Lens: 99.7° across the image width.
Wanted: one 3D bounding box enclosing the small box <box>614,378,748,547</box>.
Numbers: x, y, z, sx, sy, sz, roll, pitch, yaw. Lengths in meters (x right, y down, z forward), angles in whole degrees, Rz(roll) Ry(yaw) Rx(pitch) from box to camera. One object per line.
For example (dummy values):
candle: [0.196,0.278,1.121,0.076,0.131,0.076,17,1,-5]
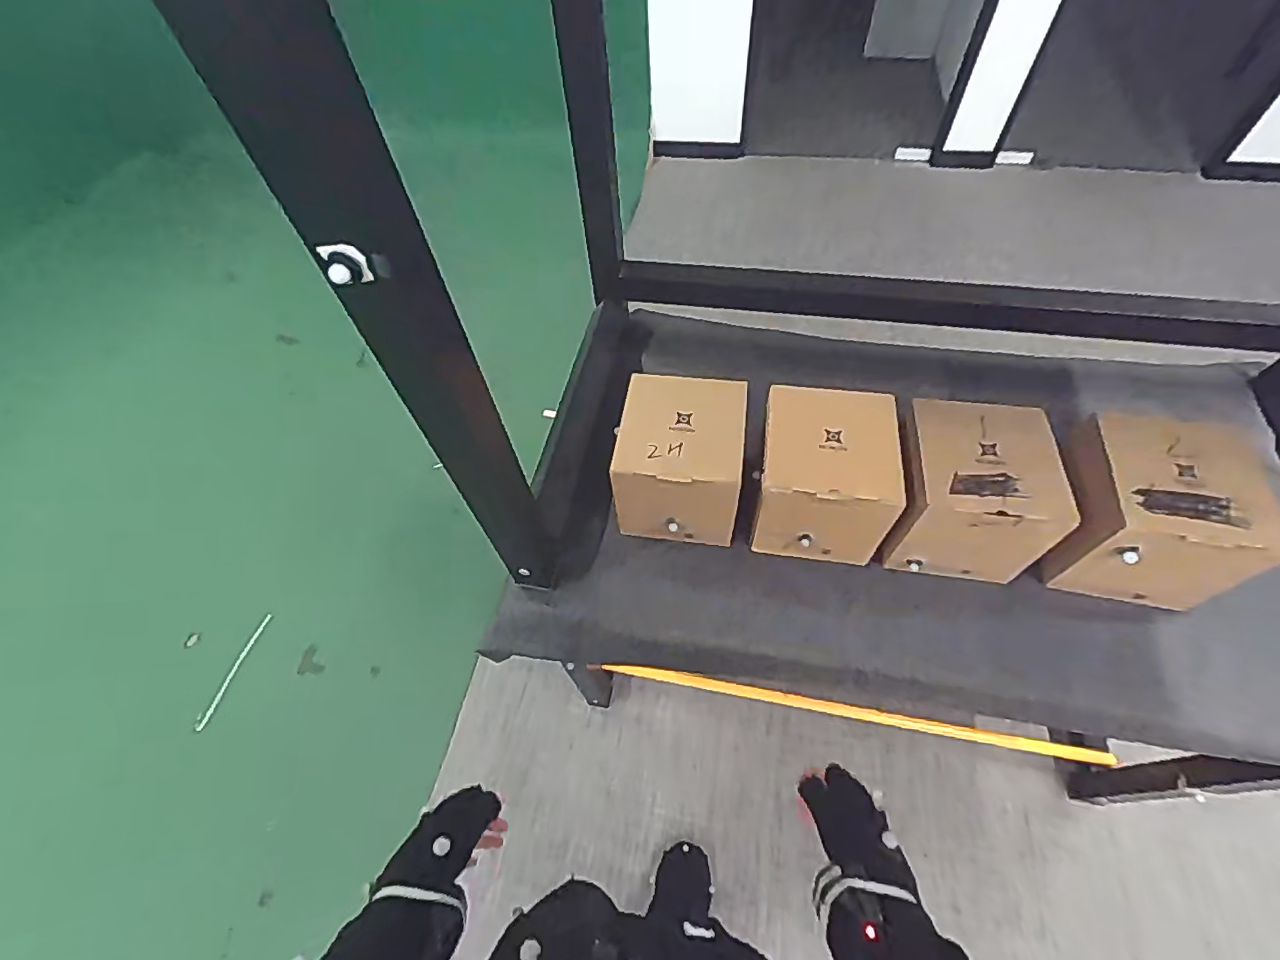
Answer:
small box: [0.064,-0.024,0.799,0.168,0.176,0.179,6,56,8]
